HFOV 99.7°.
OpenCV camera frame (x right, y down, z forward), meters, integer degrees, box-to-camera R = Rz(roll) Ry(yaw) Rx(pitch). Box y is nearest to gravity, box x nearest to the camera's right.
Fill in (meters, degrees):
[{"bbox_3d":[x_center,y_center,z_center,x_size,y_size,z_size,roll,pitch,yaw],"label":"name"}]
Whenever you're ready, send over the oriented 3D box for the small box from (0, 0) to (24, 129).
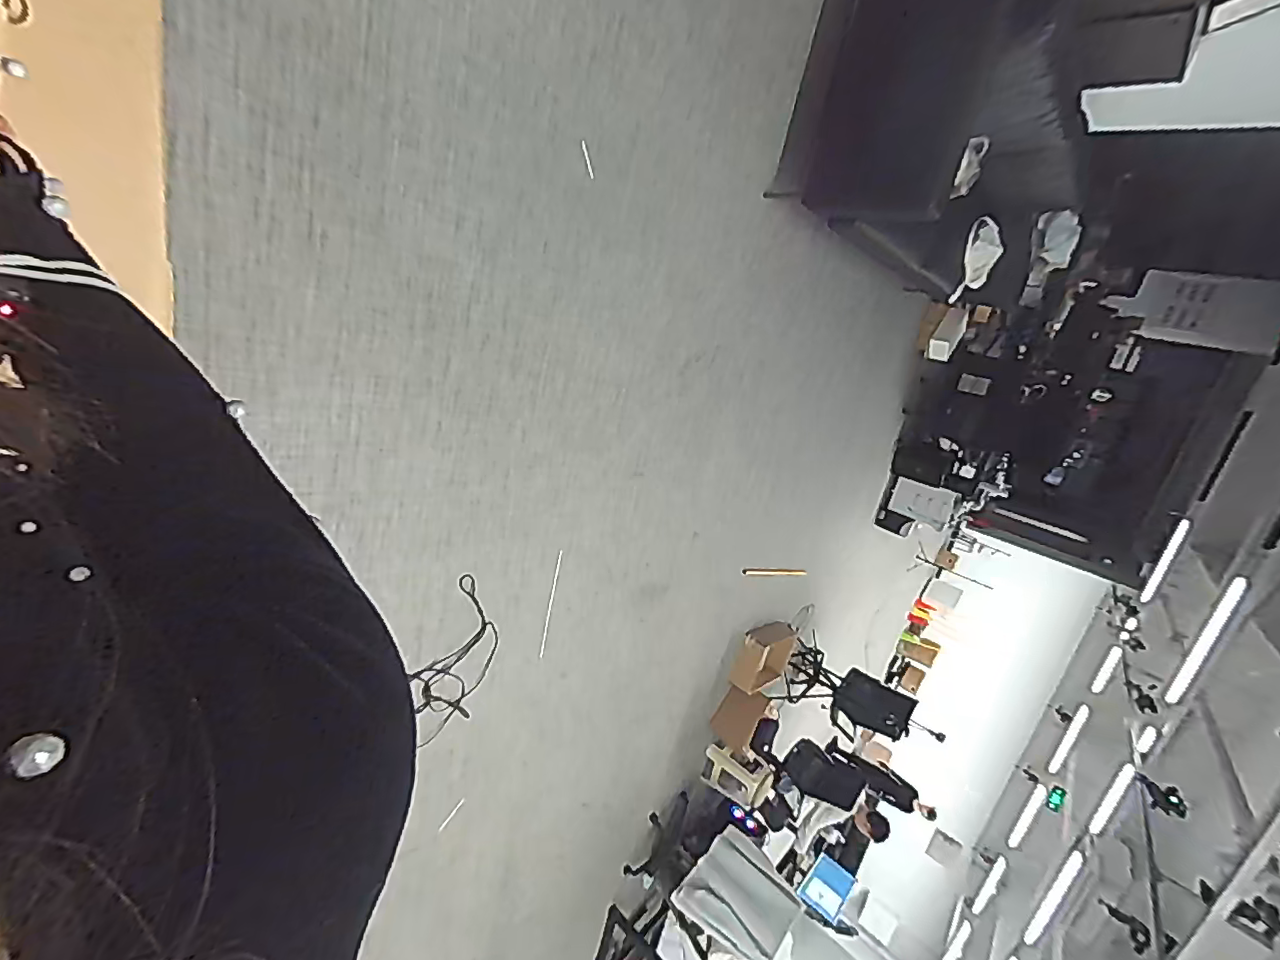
[{"bbox_3d":[-0.595,-0.368,0.396,0.179,0.176,0.168,10,102,-51],"label":"small box"}]
